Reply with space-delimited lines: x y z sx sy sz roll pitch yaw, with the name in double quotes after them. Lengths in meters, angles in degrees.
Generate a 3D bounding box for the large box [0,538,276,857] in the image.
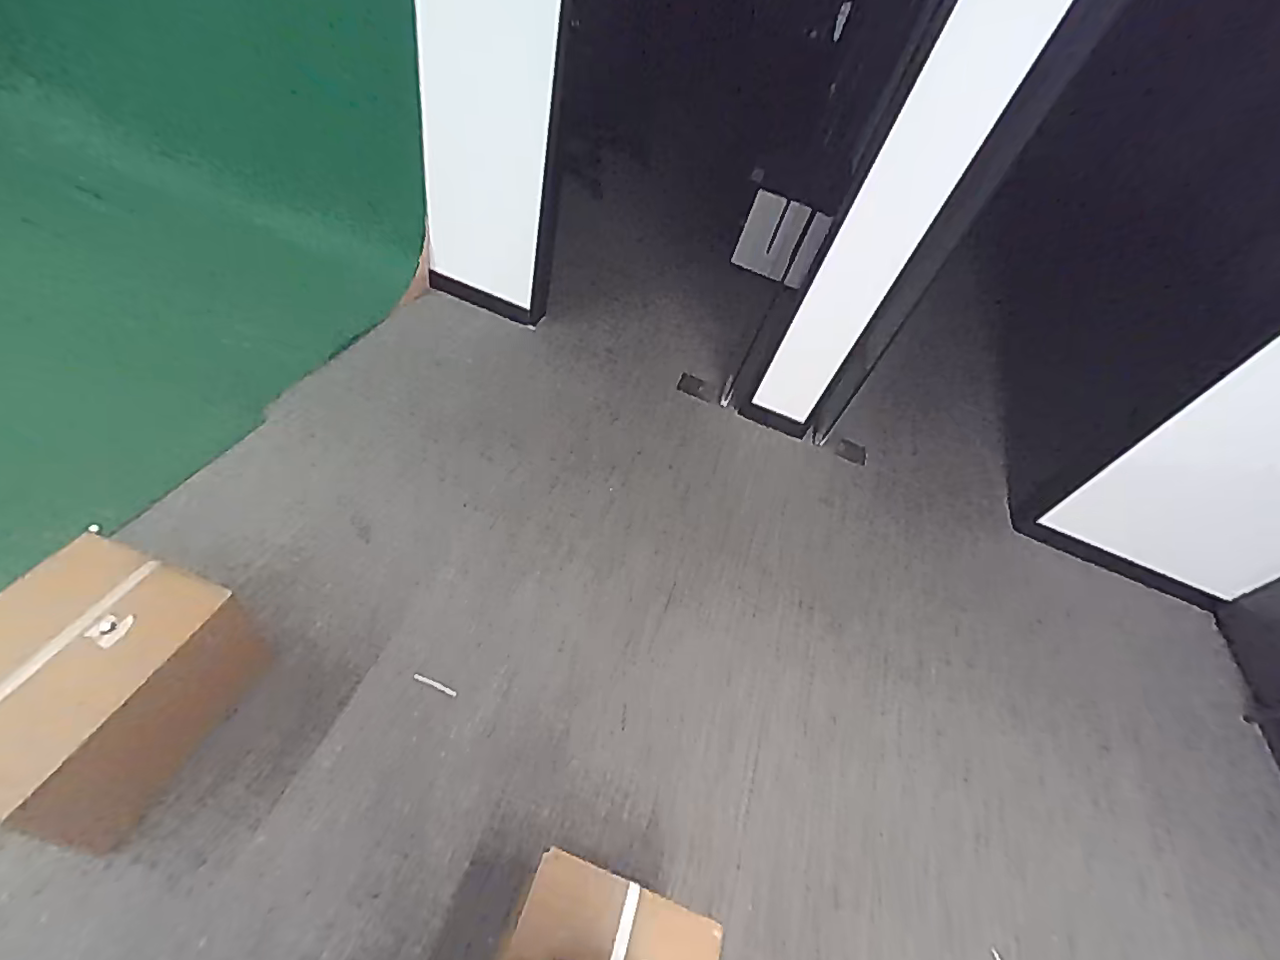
-0.987 0.392 0.994 0.320 0.320 0.408 22 46 2 "large box"
